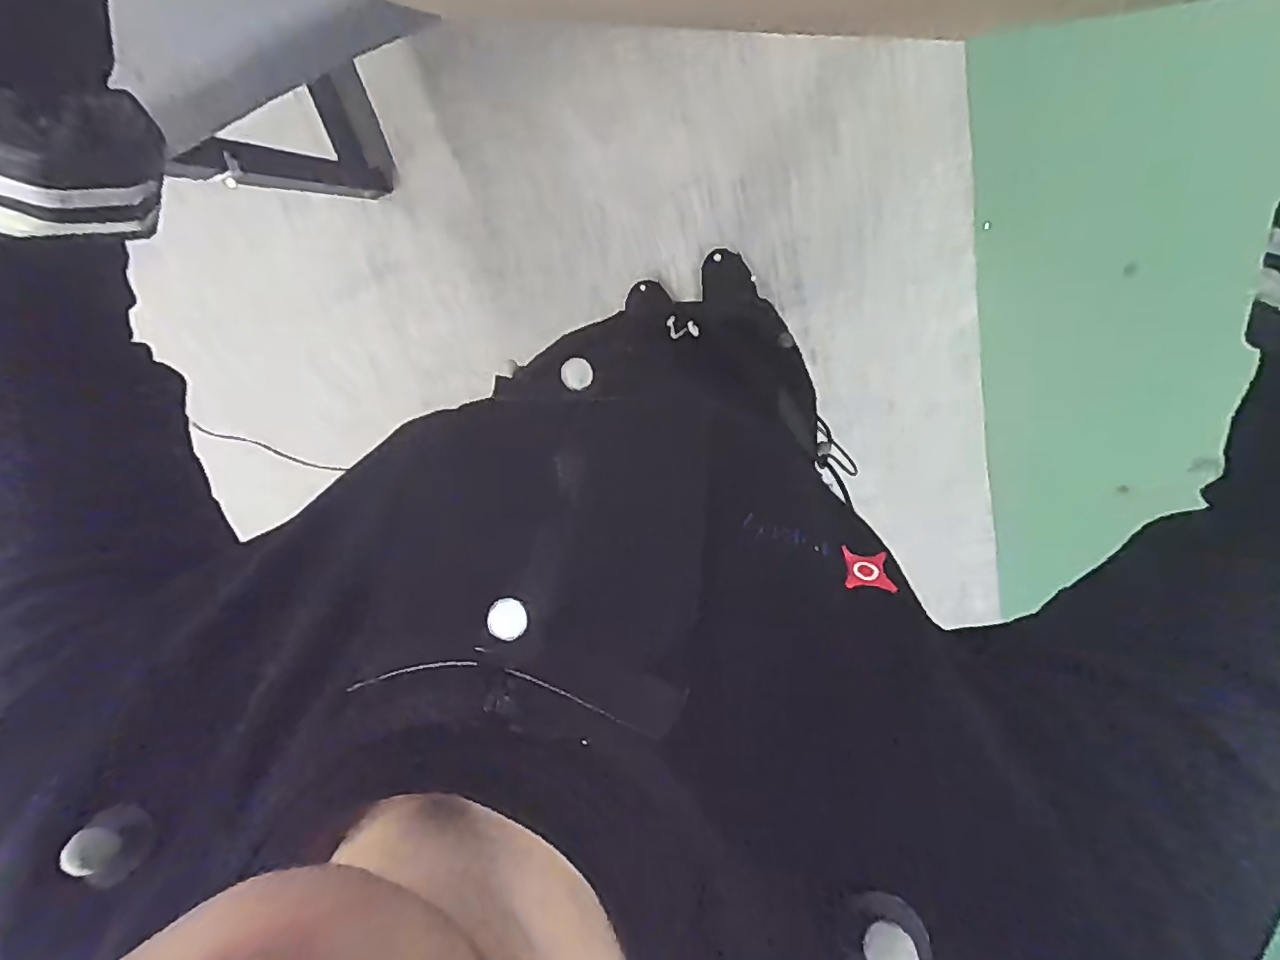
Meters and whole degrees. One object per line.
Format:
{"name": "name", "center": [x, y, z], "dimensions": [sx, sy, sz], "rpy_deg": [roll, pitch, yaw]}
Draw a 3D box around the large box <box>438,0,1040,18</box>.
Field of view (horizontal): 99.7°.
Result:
{"name": "large box", "center": [0.049, -0.379, 0.186], "dimensions": [0.408, 0.320, 0.320], "rpy_deg": [3, 126, 2]}
